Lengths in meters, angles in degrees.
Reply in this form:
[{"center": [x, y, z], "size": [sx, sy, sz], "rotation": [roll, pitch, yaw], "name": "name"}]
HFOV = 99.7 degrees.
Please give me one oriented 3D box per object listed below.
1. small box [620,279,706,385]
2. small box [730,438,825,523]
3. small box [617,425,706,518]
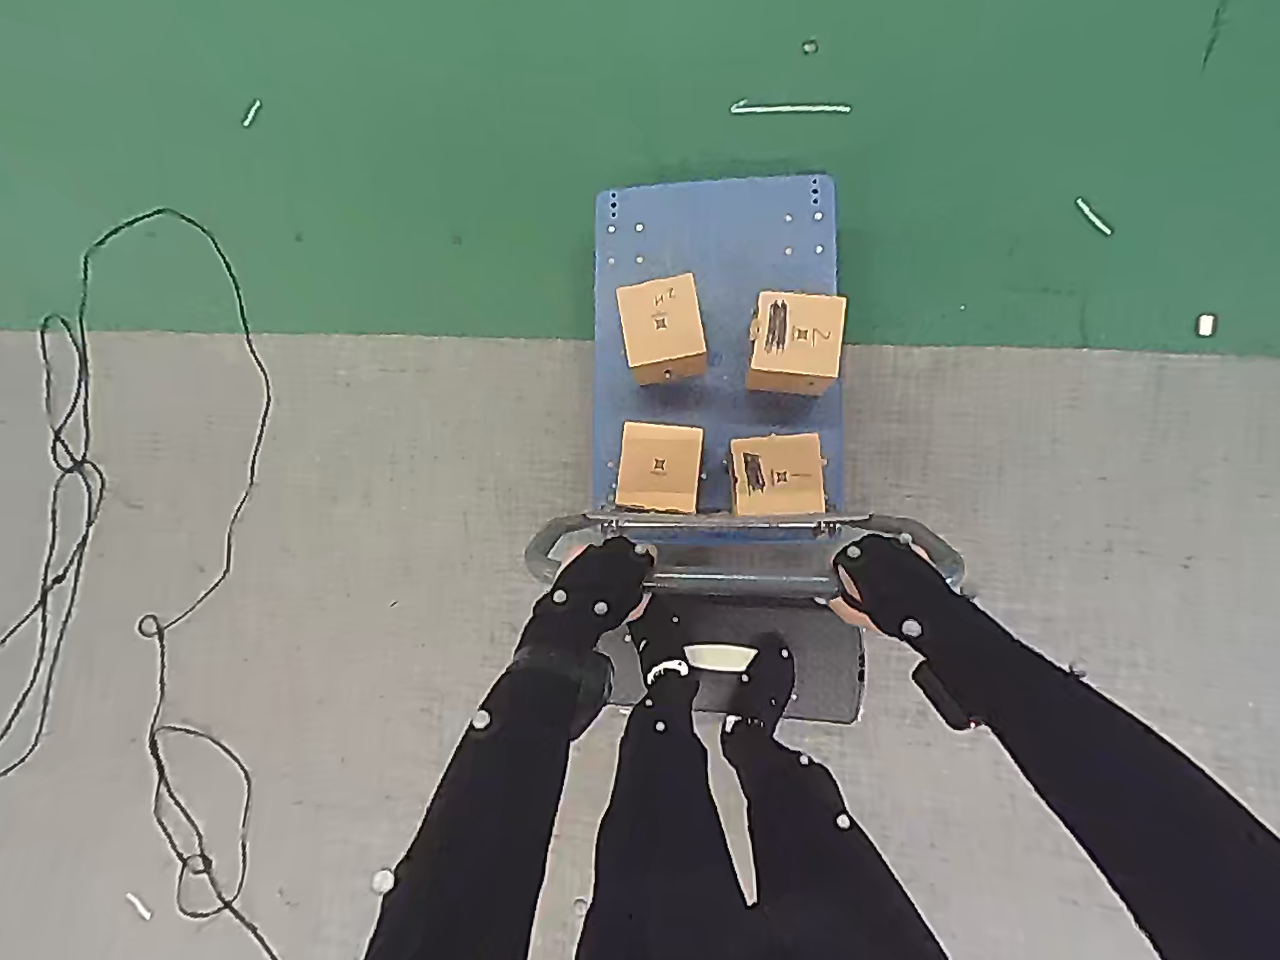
[{"center": [0.057, -0.318, 1.205], "size": [0.168, 0.176, 0.179], "rotation": [-9, 85, 5], "name": "small box"}, {"center": [0.284, 0.008, 1.154], "size": [0.179, 0.176, 0.168], "rotation": [-3, 86, 5], "name": "small box"}, {"center": [0.050, -0.014, 1.185], "size": [0.168, 0.176, 0.179], "rotation": [6, 87, 6], "name": "small box"}]
